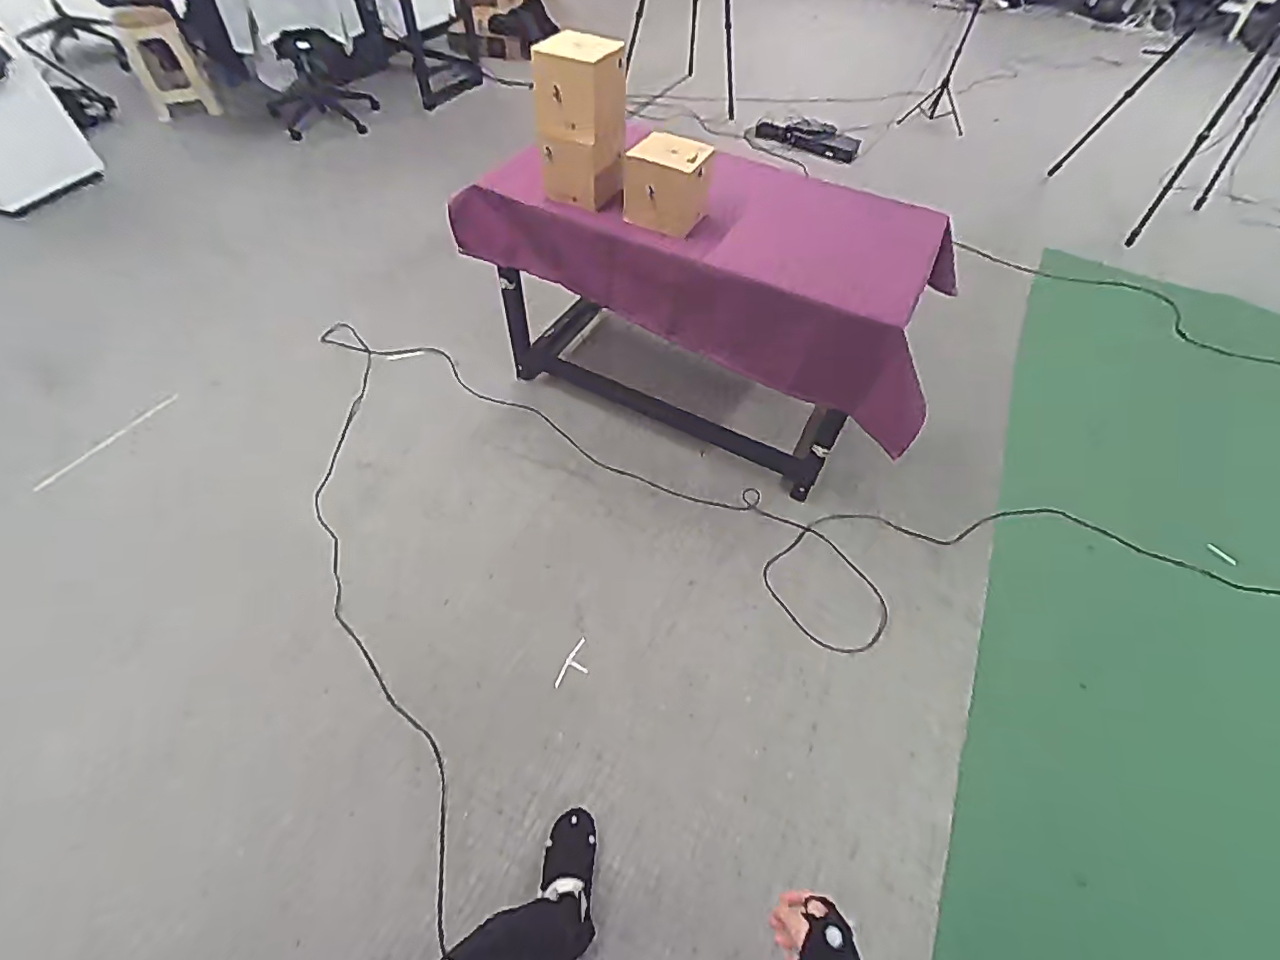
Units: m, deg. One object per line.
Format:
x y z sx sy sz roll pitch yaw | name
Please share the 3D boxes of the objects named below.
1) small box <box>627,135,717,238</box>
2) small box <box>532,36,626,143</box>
0.077 -0.751 1.389 0.179 0.176 0.168 24 56 14 | small box
-0.141 -0.957 1.330 0.168 0.176 0.179 21 54 13 | small box
